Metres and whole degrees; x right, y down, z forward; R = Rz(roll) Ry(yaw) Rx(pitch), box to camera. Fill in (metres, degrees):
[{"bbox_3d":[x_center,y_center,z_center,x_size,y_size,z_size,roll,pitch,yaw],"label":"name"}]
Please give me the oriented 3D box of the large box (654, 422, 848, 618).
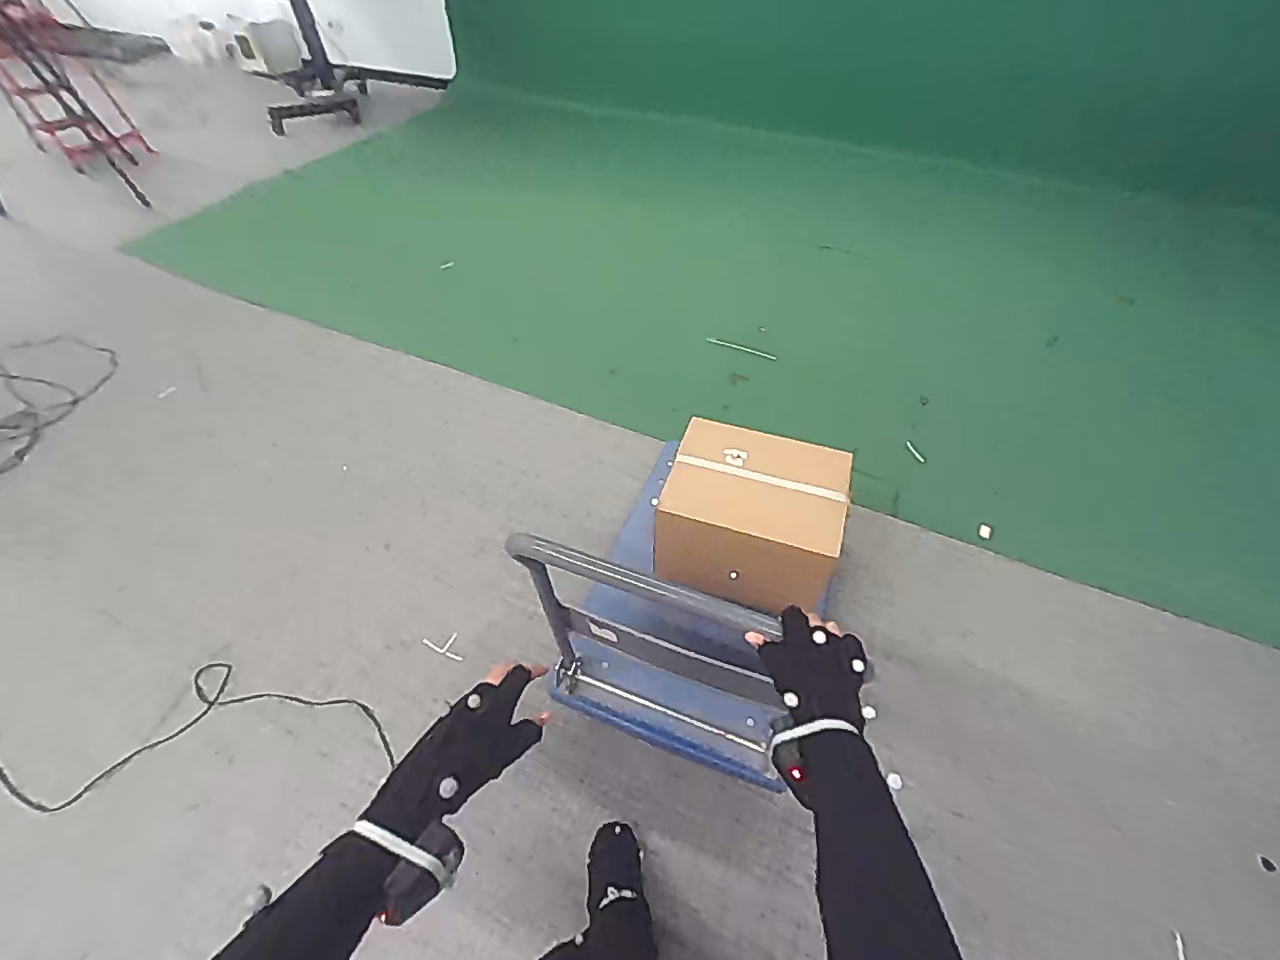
[{"bbox_3d":[0.273,0.101,1.369,0.408,0.320,0.320,14,51,14],"label":"large box"}]
